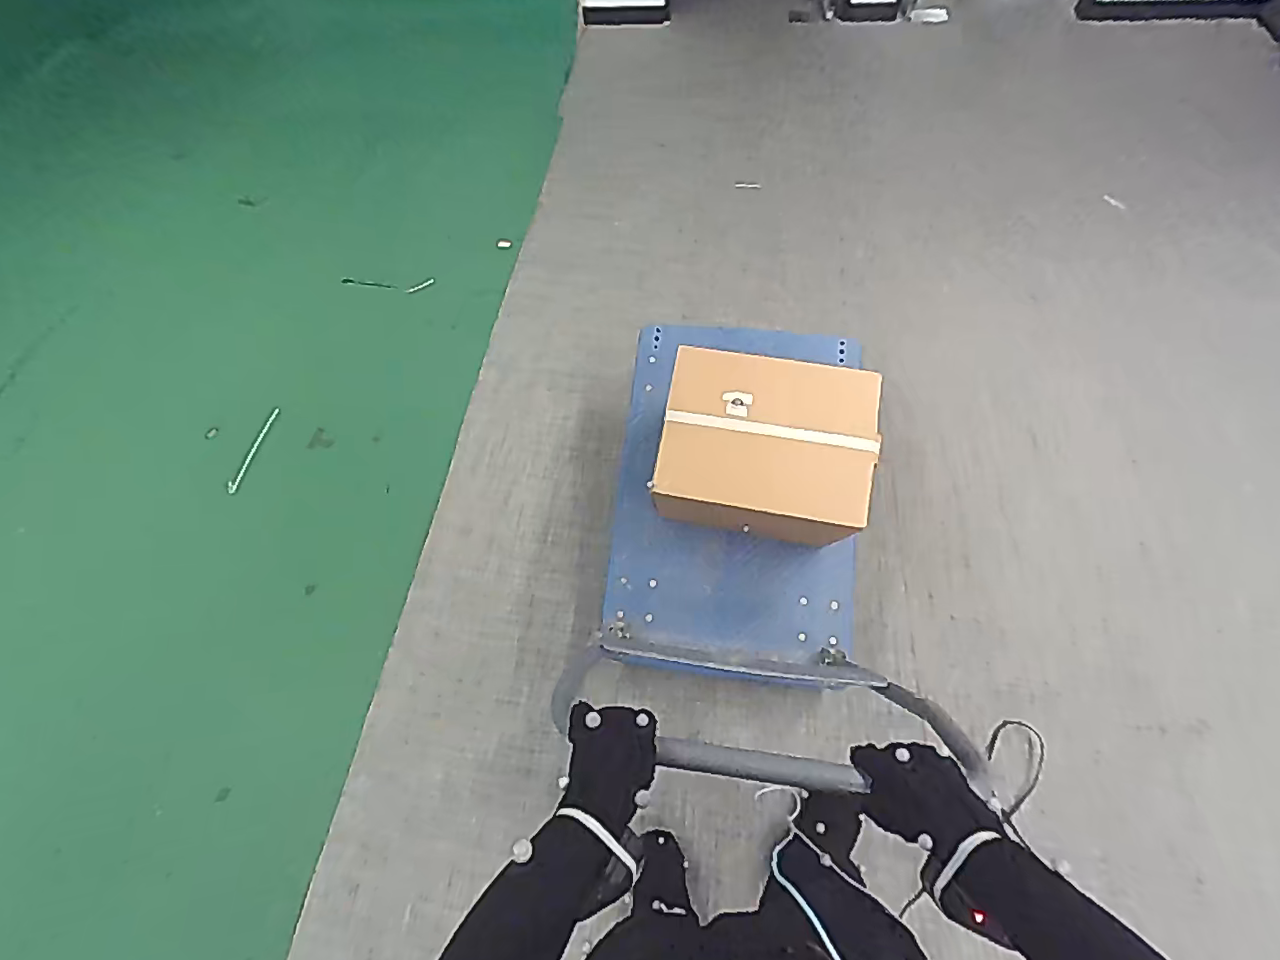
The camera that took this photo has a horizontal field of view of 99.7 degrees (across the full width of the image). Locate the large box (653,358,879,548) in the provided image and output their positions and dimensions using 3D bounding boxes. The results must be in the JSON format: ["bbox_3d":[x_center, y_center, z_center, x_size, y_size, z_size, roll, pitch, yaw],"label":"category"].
[{"bbox_3d":[0.262,-0.042,1.188,0.408,0.320,0.320,10,78,8],"label":"large box"}]
